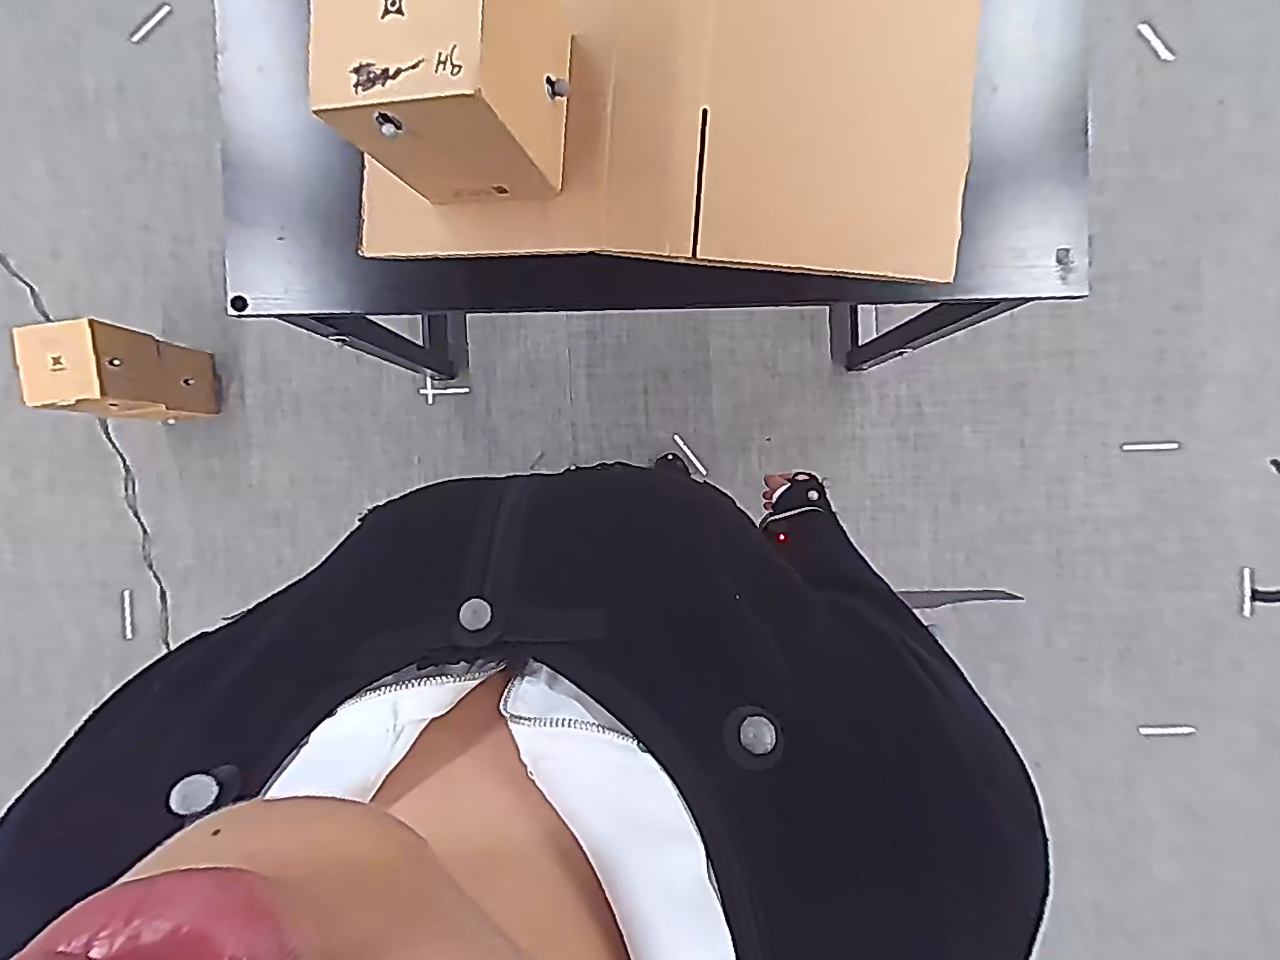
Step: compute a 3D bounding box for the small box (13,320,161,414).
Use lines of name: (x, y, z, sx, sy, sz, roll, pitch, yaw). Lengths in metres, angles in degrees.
small box: (-1.252, -0.249, 1.239, 0.168, 0.176, 0.179, -8, 91, -1)

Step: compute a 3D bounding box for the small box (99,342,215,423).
small box: (-1.251, -0.248, 1.402, 0.168, 0.176, 0.179, -5, 92, 0)

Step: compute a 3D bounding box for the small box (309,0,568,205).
small box: (-0.176, -0.393, 0.518, 0.168, 0.176, 0.179, 4, 91, 14)
